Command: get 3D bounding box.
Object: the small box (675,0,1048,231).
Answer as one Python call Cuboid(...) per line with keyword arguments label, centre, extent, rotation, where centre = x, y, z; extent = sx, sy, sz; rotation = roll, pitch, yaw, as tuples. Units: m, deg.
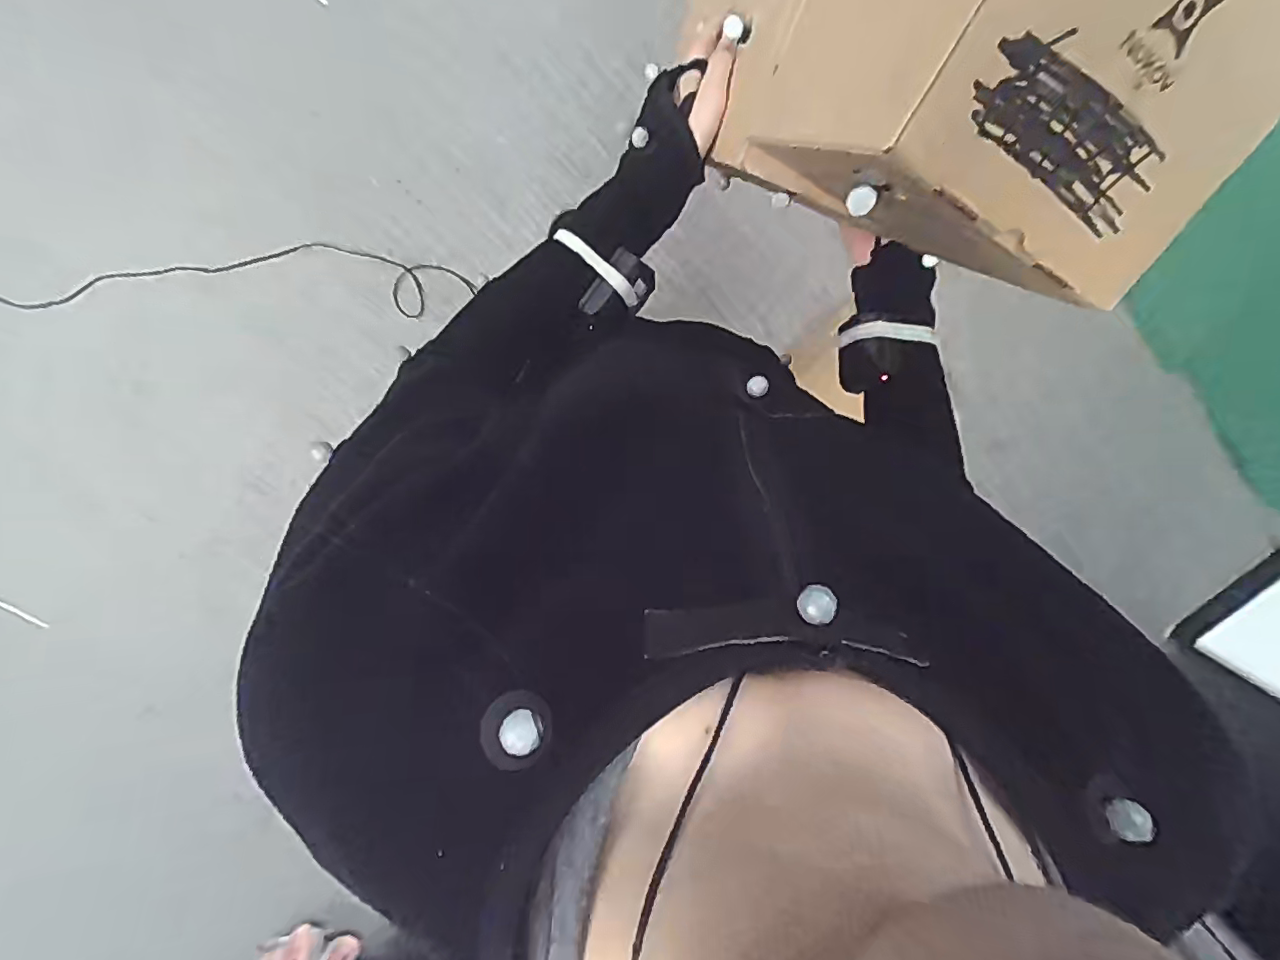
Cuboid(label="small box", centre=(0.144, -0.314, 0.411), extent=(0.179, 0.176, 0.168), rotation=(11, 121, -19))
